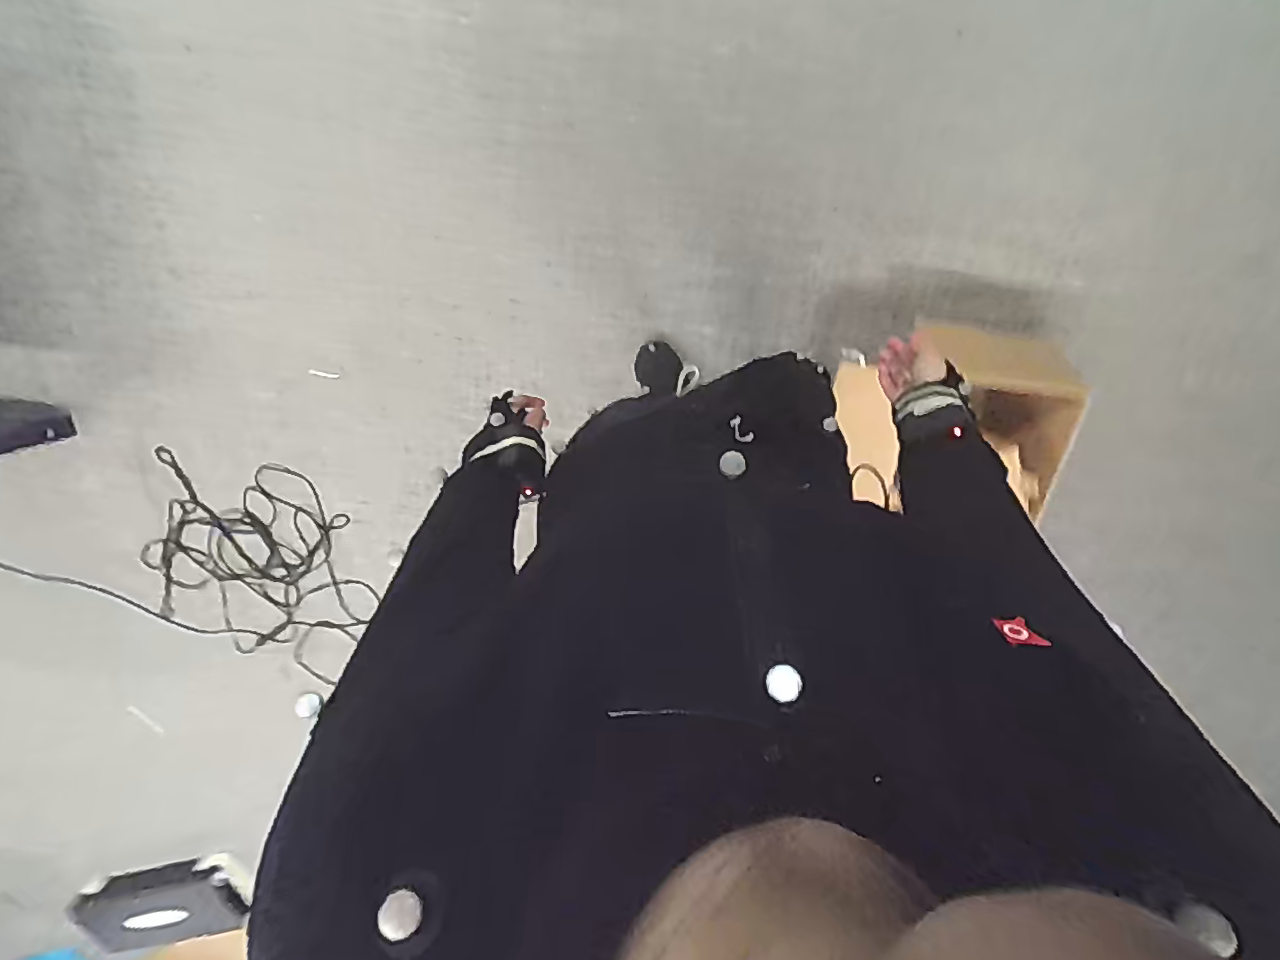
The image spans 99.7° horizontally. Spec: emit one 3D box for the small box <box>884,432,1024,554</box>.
[{"bbox_3d":[0.620,0.018,1.083,0.179,0.176,0.168,-19,108,8],"label":"small box"}]
